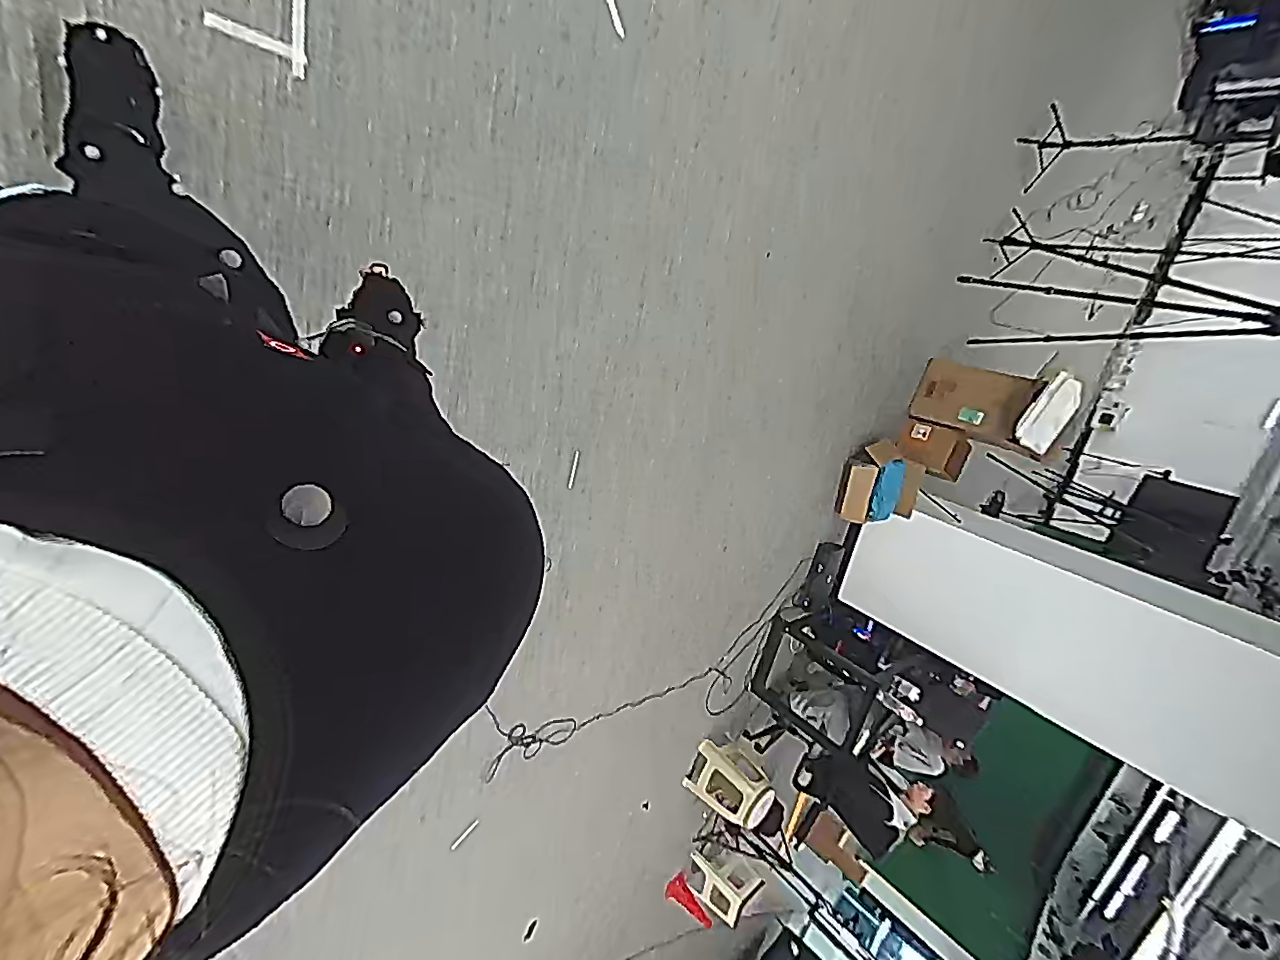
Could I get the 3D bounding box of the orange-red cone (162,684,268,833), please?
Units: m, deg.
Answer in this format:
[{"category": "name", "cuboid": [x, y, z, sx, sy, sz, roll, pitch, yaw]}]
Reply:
[{"category": "orange-red cone", "cuboid": [-0.974, 0.678, 1.270, 0.199, 0.360, 0.198, 9, 104, -46]}]
